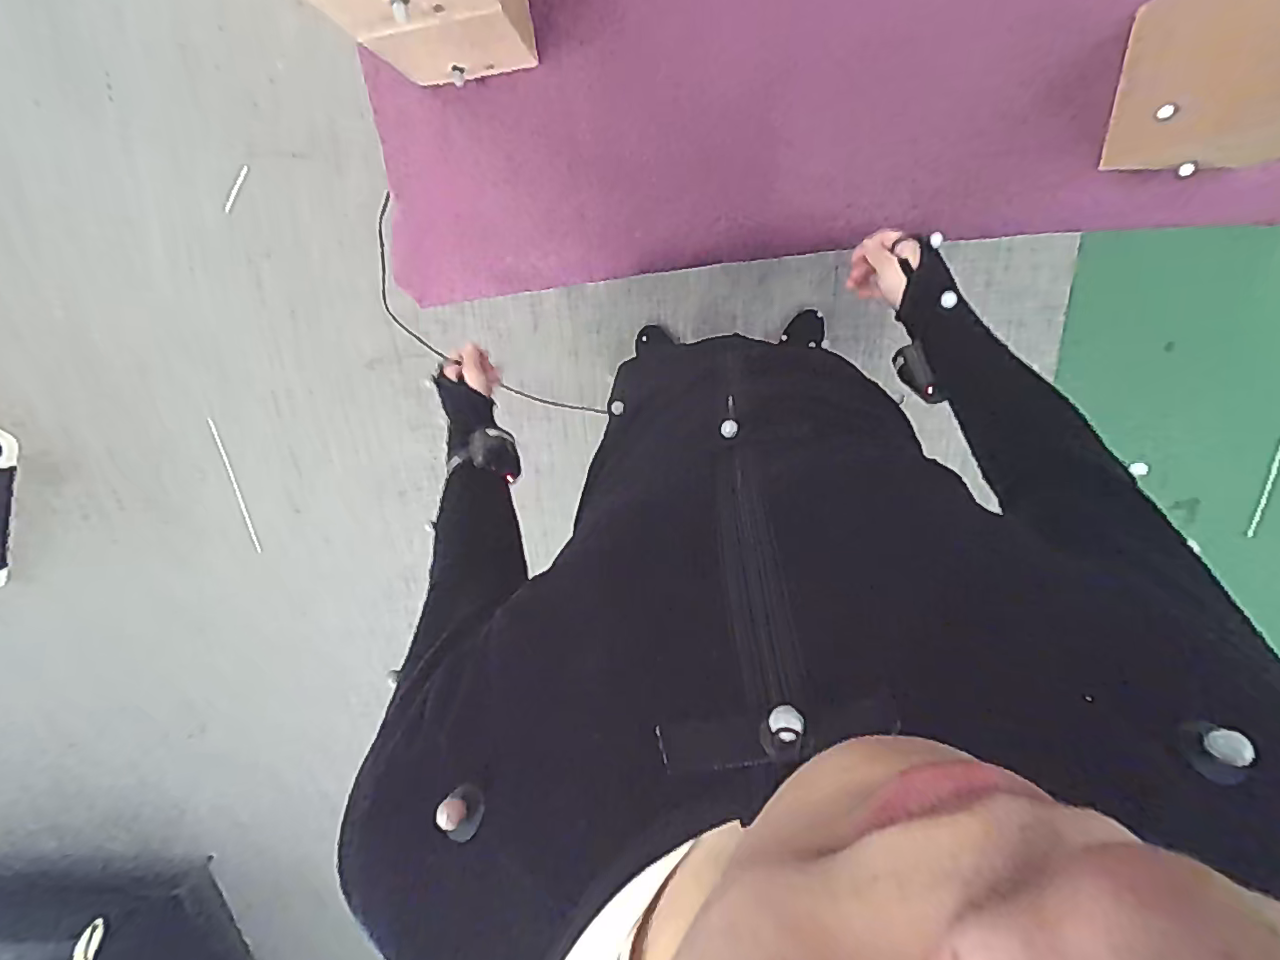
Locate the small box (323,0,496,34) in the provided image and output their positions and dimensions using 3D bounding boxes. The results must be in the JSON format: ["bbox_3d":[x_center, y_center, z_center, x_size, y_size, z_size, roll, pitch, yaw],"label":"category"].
[{"bbox_3d":[-0.240,-0.534,0.464,0.168,0.176,0.179,-6,110,7],"label":"small box"}]

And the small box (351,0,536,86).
[{"bbox_3d":[-0.230,-0.590,0.617,0.168,0.176,0.179,-6,111,7],"label":"small box"}]
